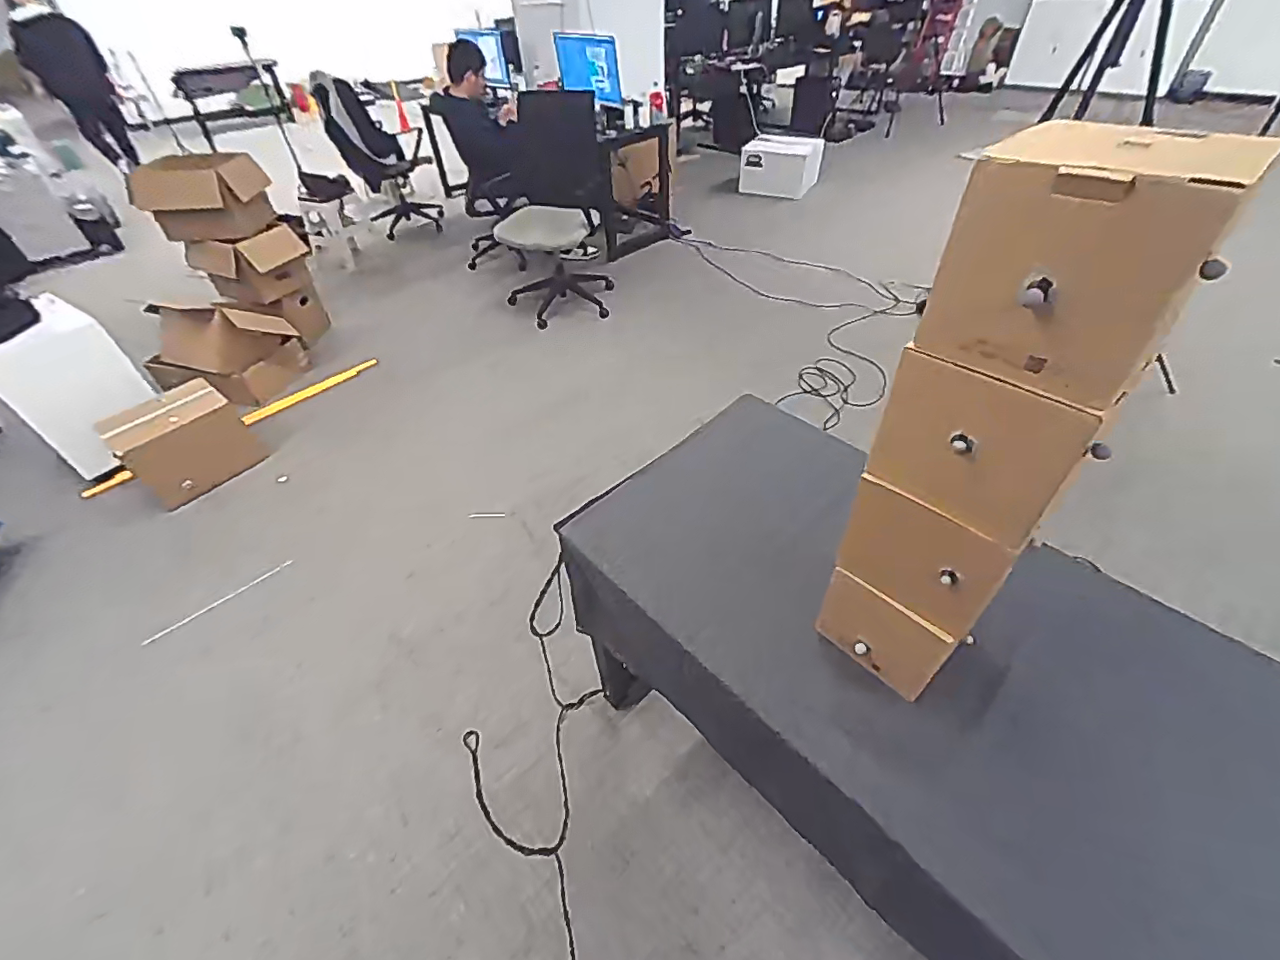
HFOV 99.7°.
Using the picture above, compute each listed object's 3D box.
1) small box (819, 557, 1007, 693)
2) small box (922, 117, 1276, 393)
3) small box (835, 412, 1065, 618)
[{"bbox_3d":[0.387,0.170,0.796,0.179,0.176,0.168,-33,50,-27],"label":"small box"},{"bbox_3d":[0.378,-0.202,0.477,0.179,0.176,0.168,-34,50,-29],"label":"small box"},{"bbox_3d":[0.379,0.048,0.689,0.168,0.176,0.179,-34,51,-29],"label":"small box"}]
